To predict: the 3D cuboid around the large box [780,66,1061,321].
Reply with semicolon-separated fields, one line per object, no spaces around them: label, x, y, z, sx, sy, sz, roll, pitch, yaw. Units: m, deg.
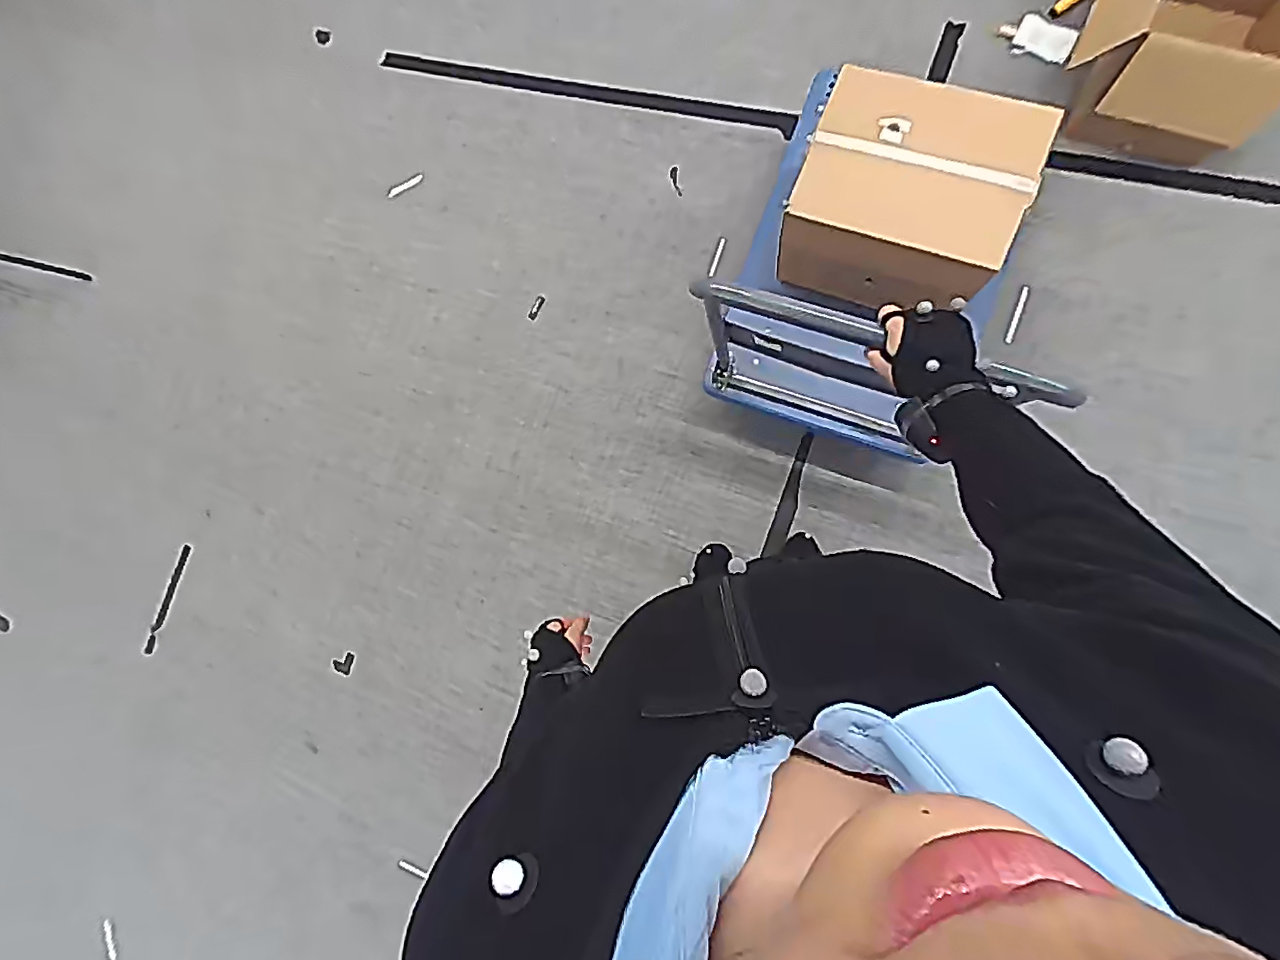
large box;0.544;-0.578;1.141;0.408;0.320;0.320;22;90;13
